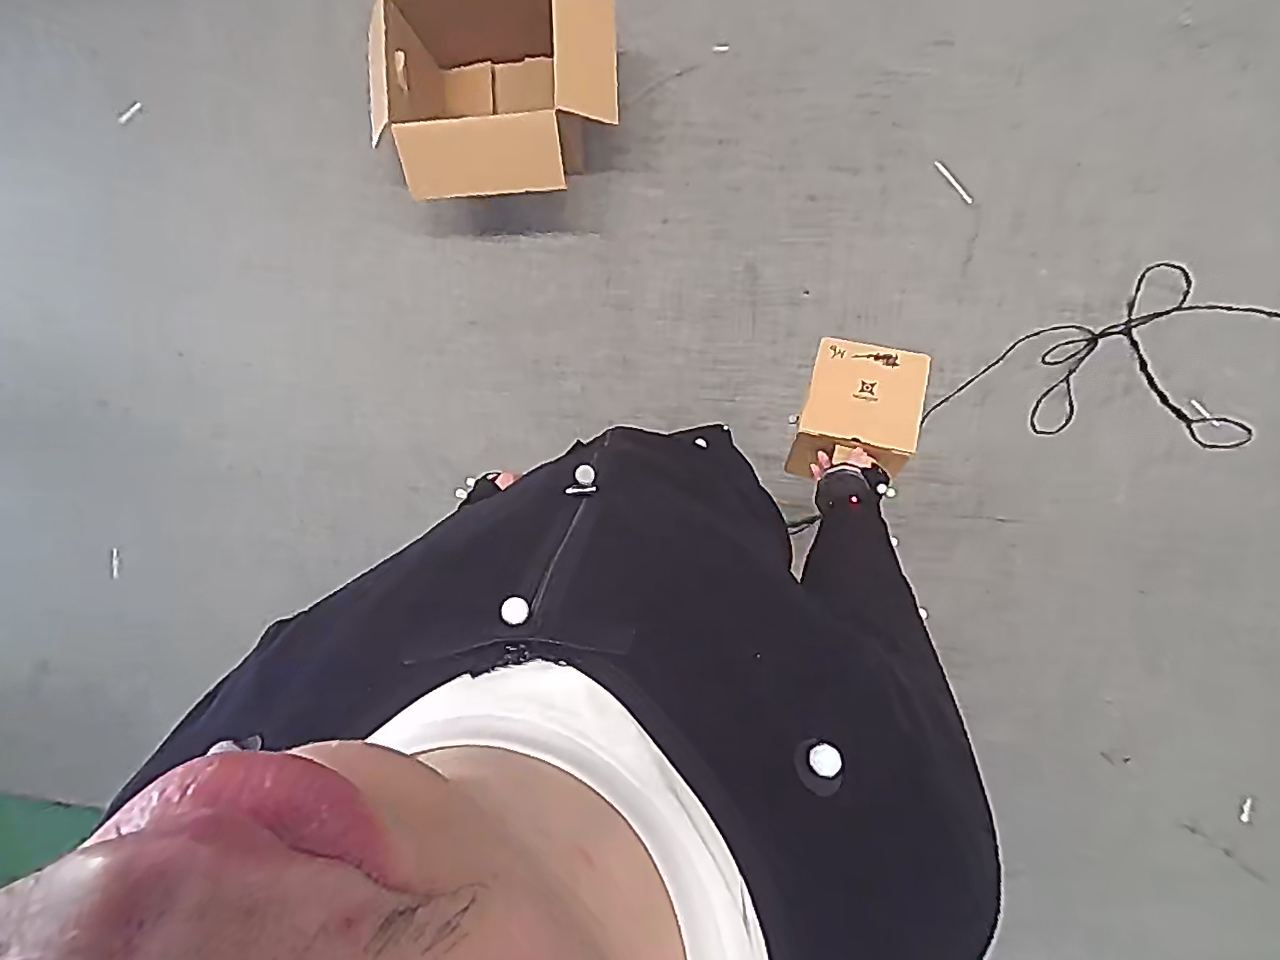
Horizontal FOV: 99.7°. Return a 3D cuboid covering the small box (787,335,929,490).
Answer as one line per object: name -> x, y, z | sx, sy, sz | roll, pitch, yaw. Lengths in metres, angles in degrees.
small box -> 0.341, -0.102, 0.874 | 0.168, 0.176, 0.179 | 15, 71, 14
